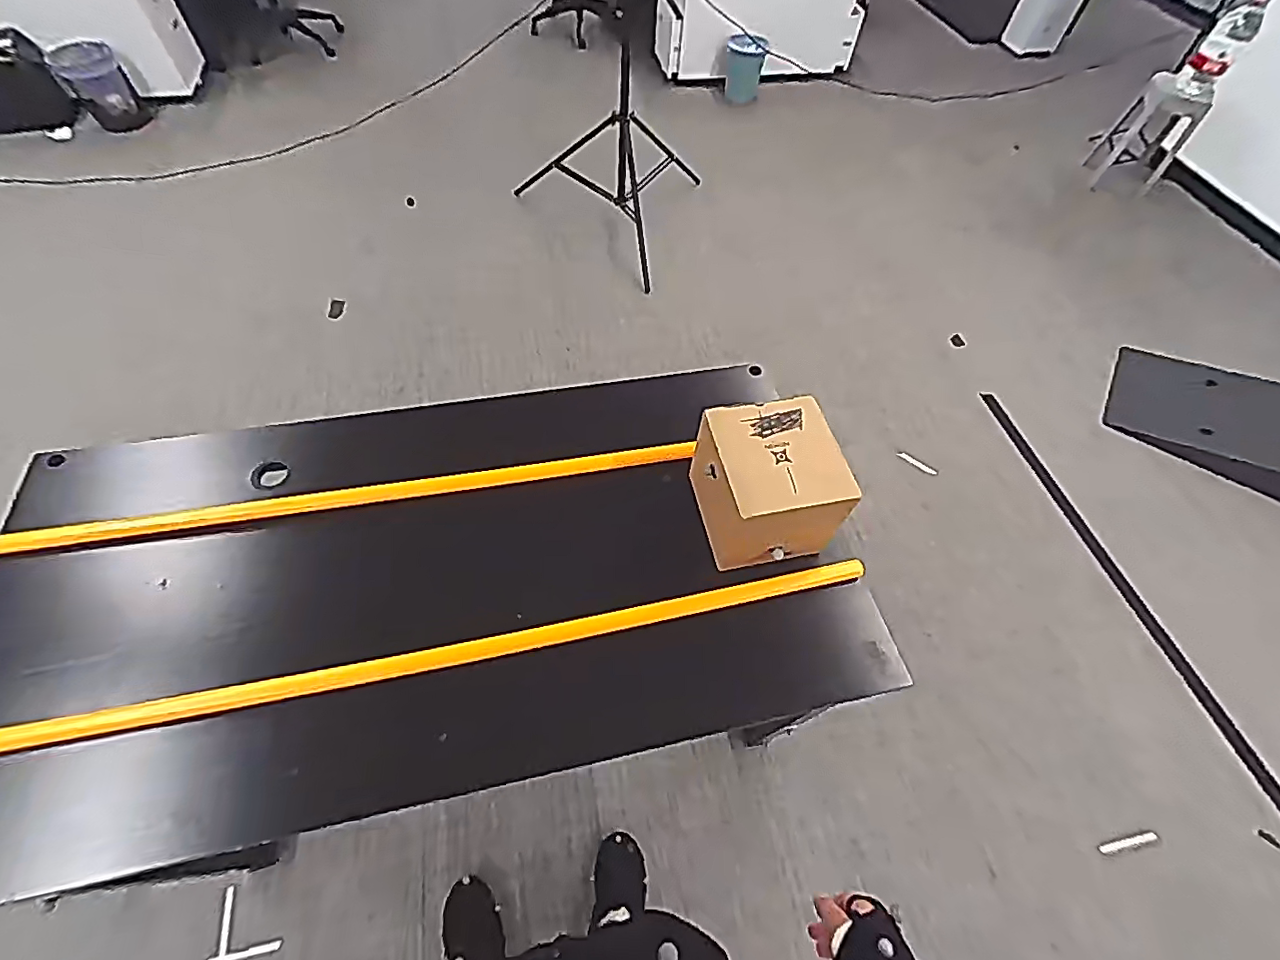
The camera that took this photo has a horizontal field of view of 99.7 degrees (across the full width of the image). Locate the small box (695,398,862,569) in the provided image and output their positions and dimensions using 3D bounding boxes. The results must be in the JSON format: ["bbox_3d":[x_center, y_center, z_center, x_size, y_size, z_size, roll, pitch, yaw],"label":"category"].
[{"bbox_3d":[0.185,0.008,0.789,0.168,0.176,0.179,-9,59,-8],"label":"small box"}]
